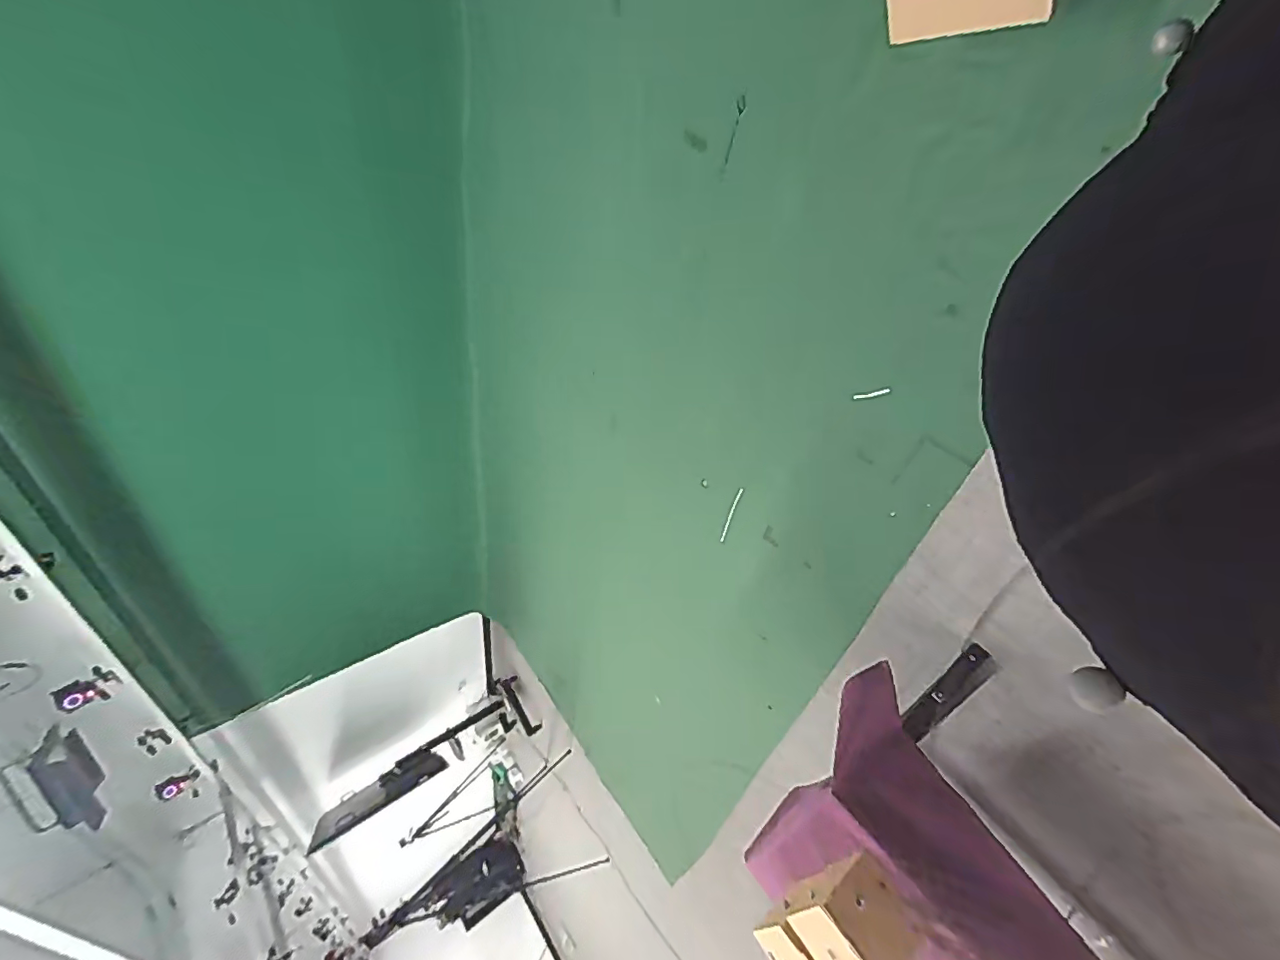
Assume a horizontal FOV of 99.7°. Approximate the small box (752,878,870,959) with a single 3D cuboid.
[{"bbox_3d":[0.400,1.067,1.254,0.168,0.176,0.179,49,141,27],"label":"small box"}]
